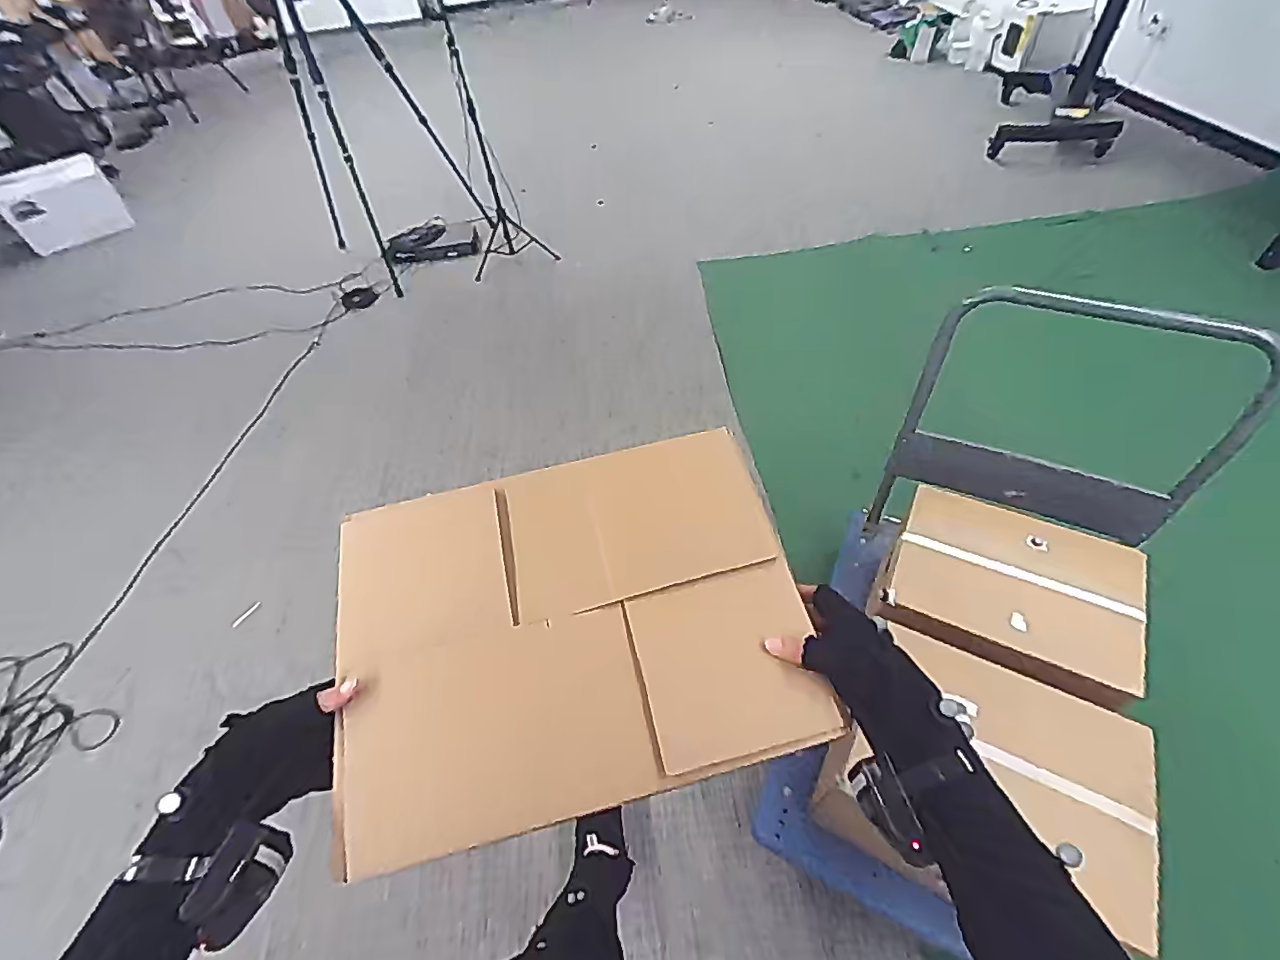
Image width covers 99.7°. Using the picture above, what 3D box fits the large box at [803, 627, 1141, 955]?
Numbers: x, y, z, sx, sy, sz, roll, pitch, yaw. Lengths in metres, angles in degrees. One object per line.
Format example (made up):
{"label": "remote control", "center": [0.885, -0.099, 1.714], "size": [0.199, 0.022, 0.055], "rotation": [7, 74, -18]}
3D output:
{"label": "large box", "center": [0.545, 0.528, 0.945], "size": [0.408, 0.320, 0.320], "rotation": [21, 55, 22]}
